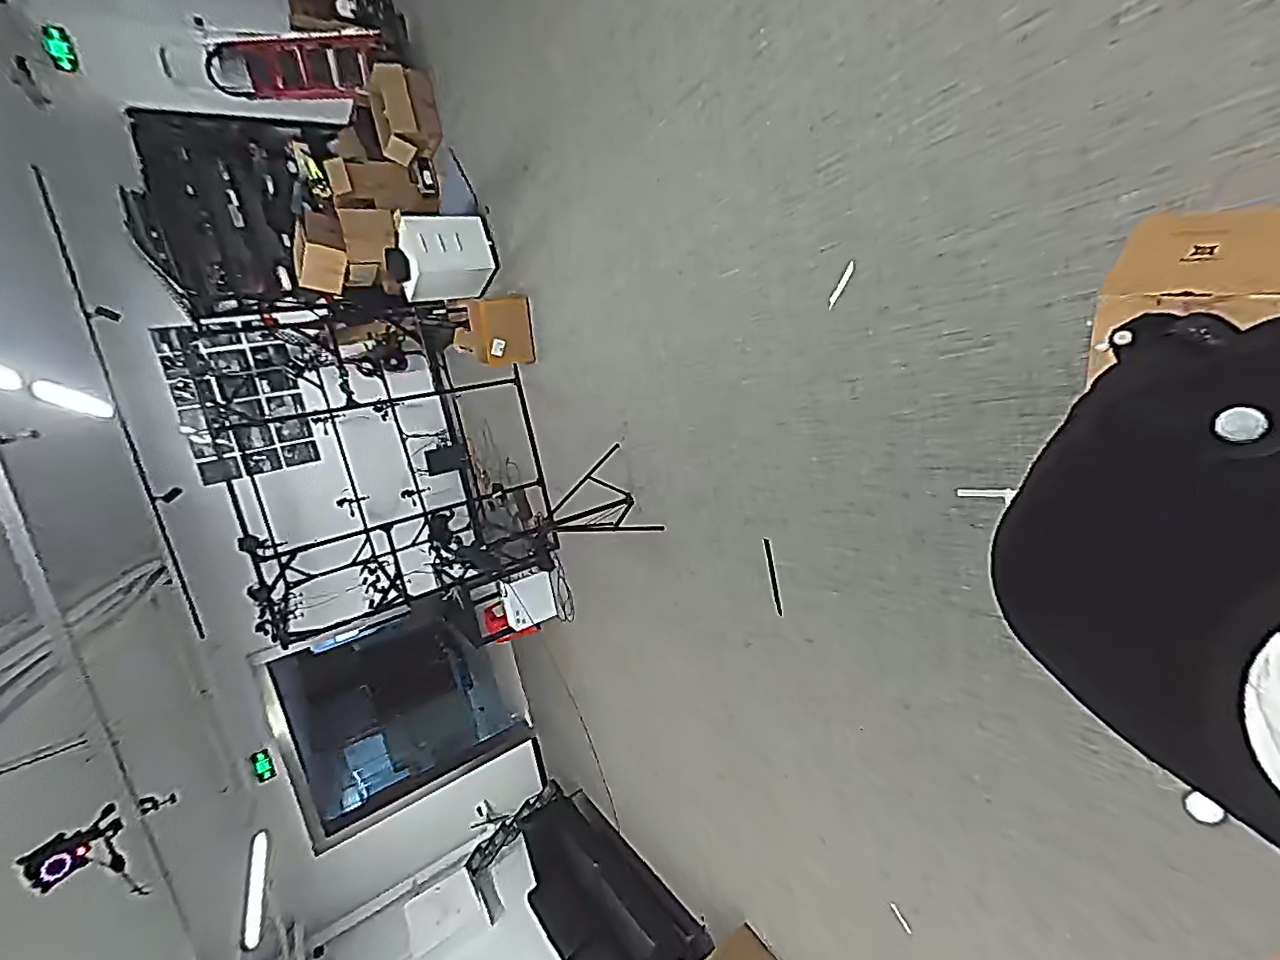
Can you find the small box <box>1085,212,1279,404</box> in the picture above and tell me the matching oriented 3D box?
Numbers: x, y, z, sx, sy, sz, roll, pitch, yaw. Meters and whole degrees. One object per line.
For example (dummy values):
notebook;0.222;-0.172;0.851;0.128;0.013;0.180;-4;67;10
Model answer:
small box;0.721;-0.223;0.719;0.168;0.179;0.176;20;151;44
